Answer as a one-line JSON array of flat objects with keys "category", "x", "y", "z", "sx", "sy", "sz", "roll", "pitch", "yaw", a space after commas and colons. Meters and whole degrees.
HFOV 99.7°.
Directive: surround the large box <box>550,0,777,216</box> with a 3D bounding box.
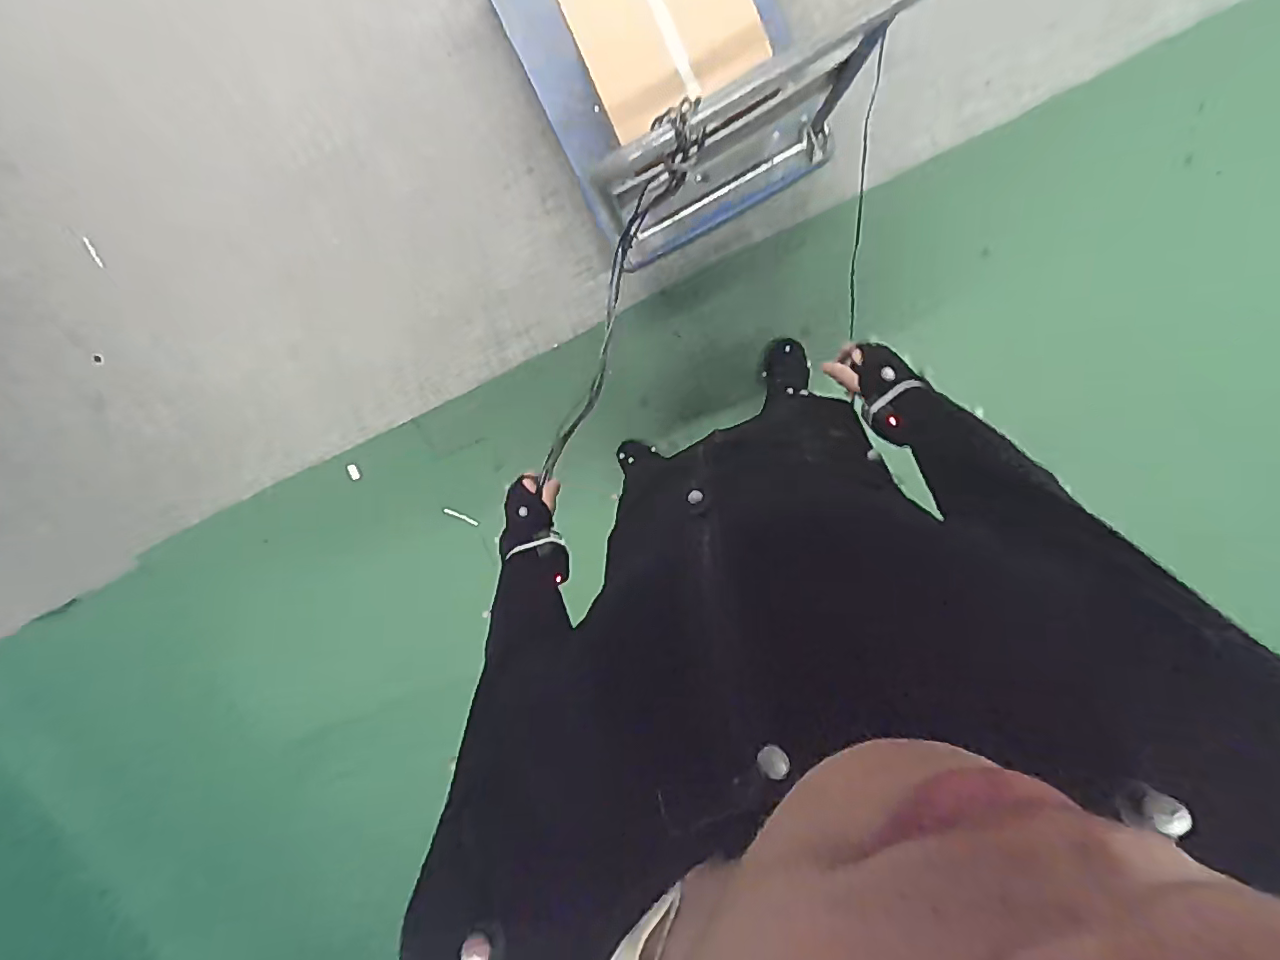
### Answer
[{"category": "large box", "x": 0.052, "y": -0.859, "z": 1.147, "sx": 0.320, "sy": 0.320, "sz": 0.408, "roll": -24, "pitch": 97, "yaw": 10}]
